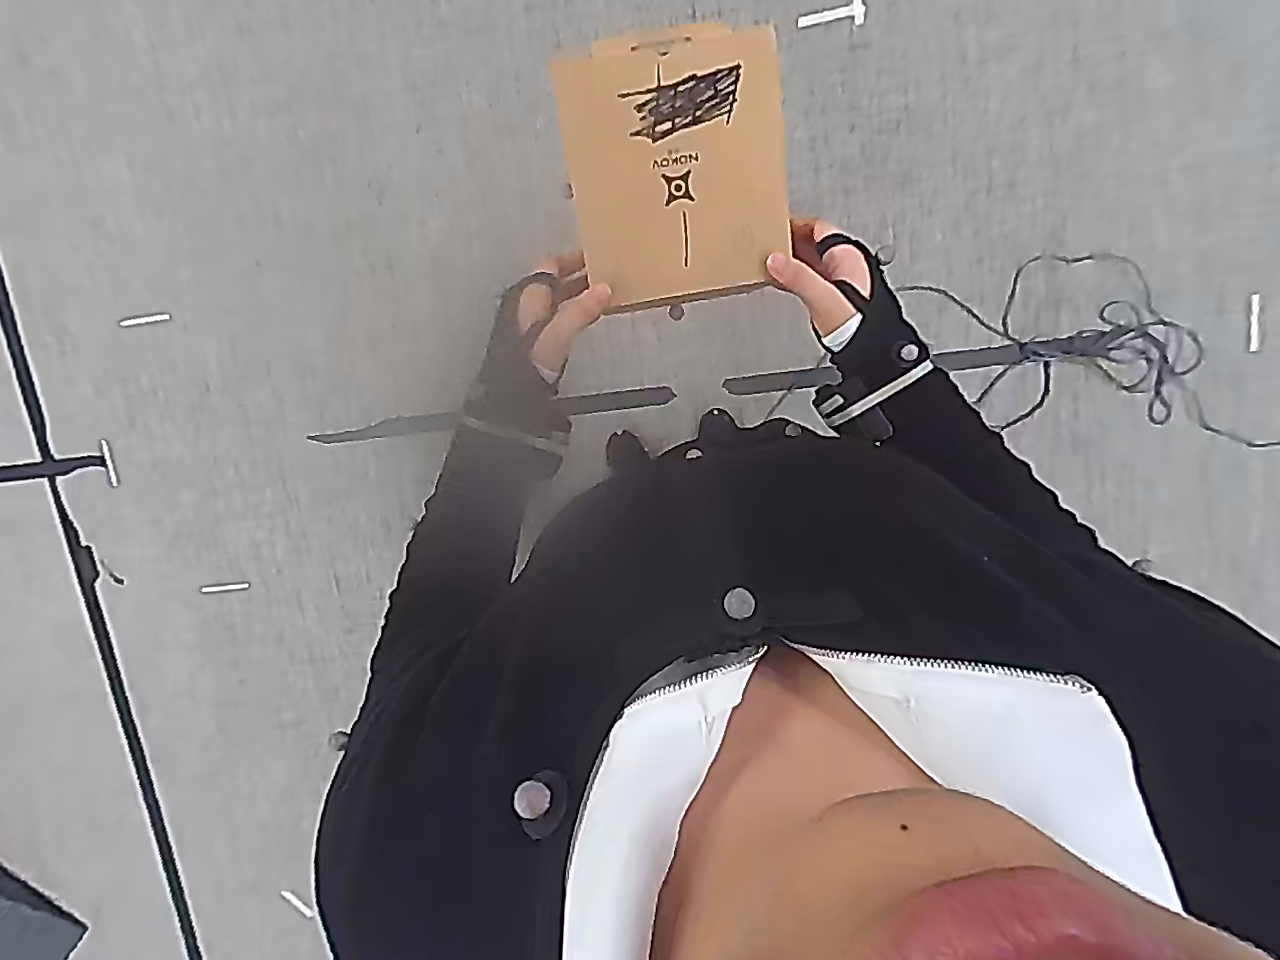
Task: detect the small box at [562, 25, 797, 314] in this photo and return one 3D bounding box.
[{"bbox_3d":[0.031,-0.255,0.490,0.168,0.176,0.179,-9,105,2],"label":"small box"}]
